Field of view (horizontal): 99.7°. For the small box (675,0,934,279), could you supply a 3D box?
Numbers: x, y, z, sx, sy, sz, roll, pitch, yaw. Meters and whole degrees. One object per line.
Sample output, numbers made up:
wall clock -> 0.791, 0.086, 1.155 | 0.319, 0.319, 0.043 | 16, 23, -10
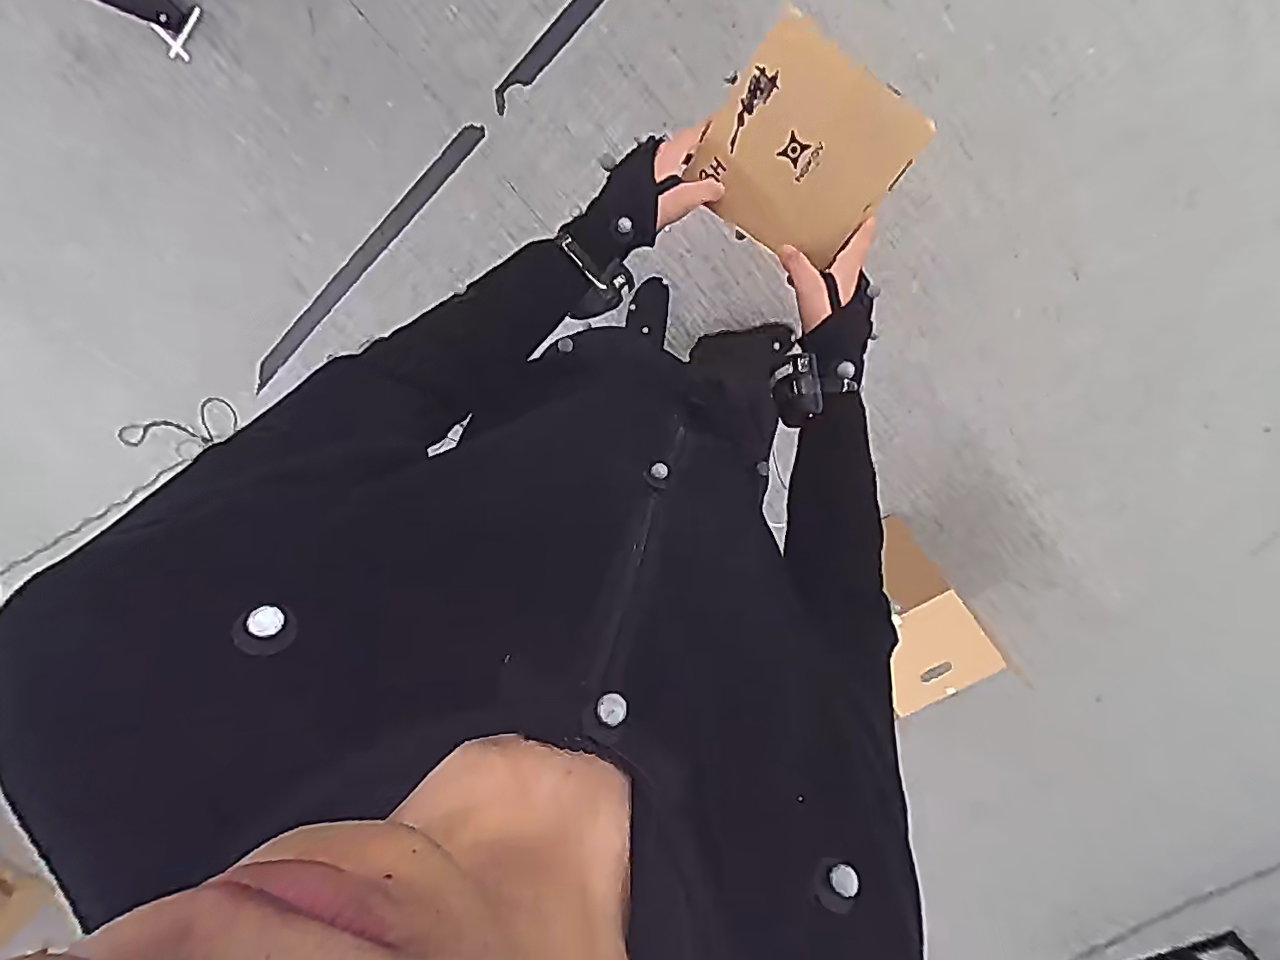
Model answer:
small box -> 0.161, -0.346, 0.568 | 0.179, 0.176, 0.168 | 32, 121, -8
